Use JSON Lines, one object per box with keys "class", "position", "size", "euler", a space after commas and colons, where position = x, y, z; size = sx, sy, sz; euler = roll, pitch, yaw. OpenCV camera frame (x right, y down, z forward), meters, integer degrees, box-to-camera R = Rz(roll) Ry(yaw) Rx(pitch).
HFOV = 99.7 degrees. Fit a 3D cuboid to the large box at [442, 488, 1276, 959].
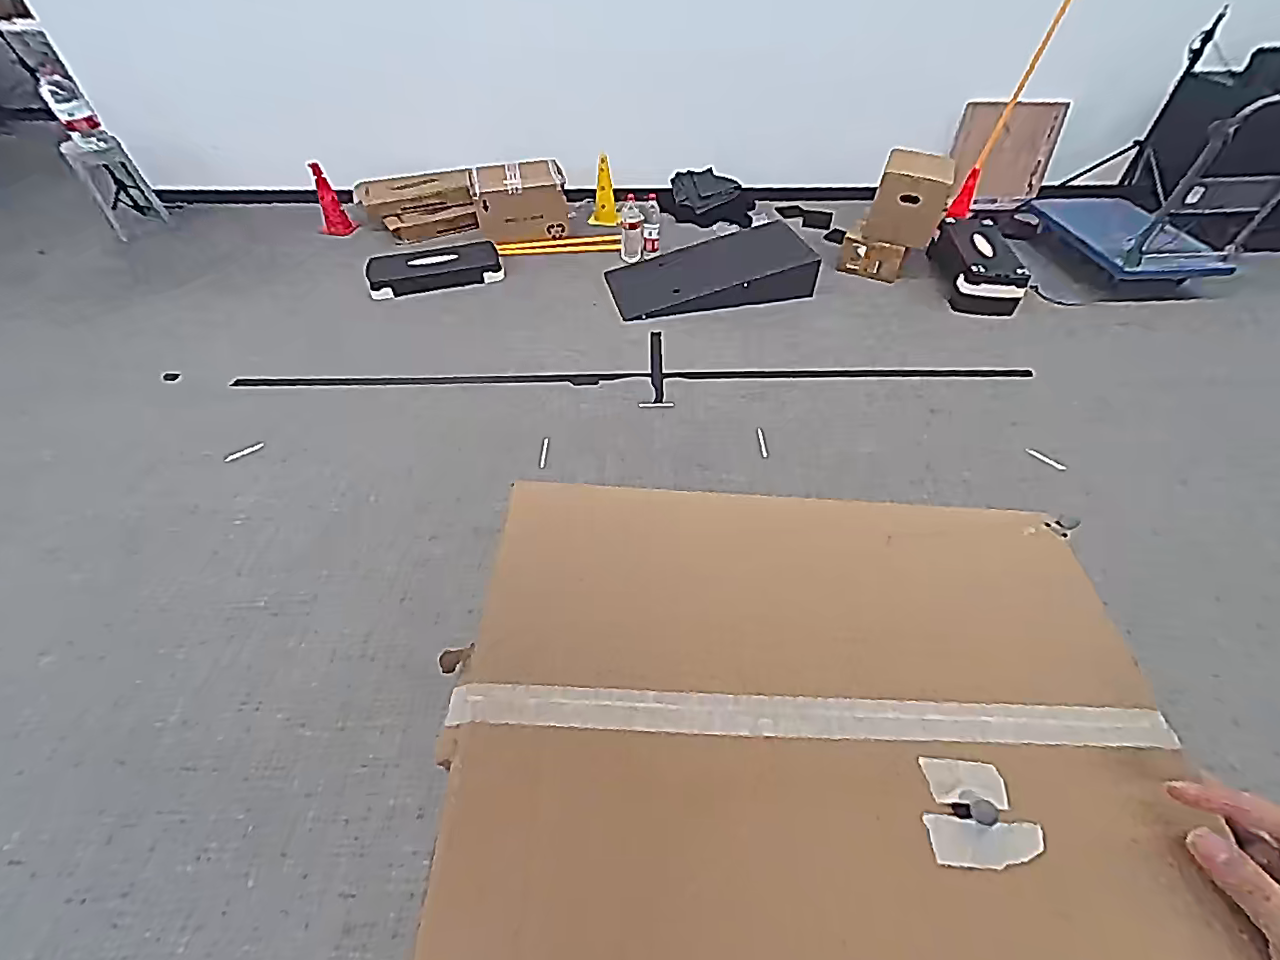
{"class": "large box", "position": [0.097, 0.228, 0.434], "size": [0.408, 0.320, 0.320], "euler": [4, 52, -3]}
